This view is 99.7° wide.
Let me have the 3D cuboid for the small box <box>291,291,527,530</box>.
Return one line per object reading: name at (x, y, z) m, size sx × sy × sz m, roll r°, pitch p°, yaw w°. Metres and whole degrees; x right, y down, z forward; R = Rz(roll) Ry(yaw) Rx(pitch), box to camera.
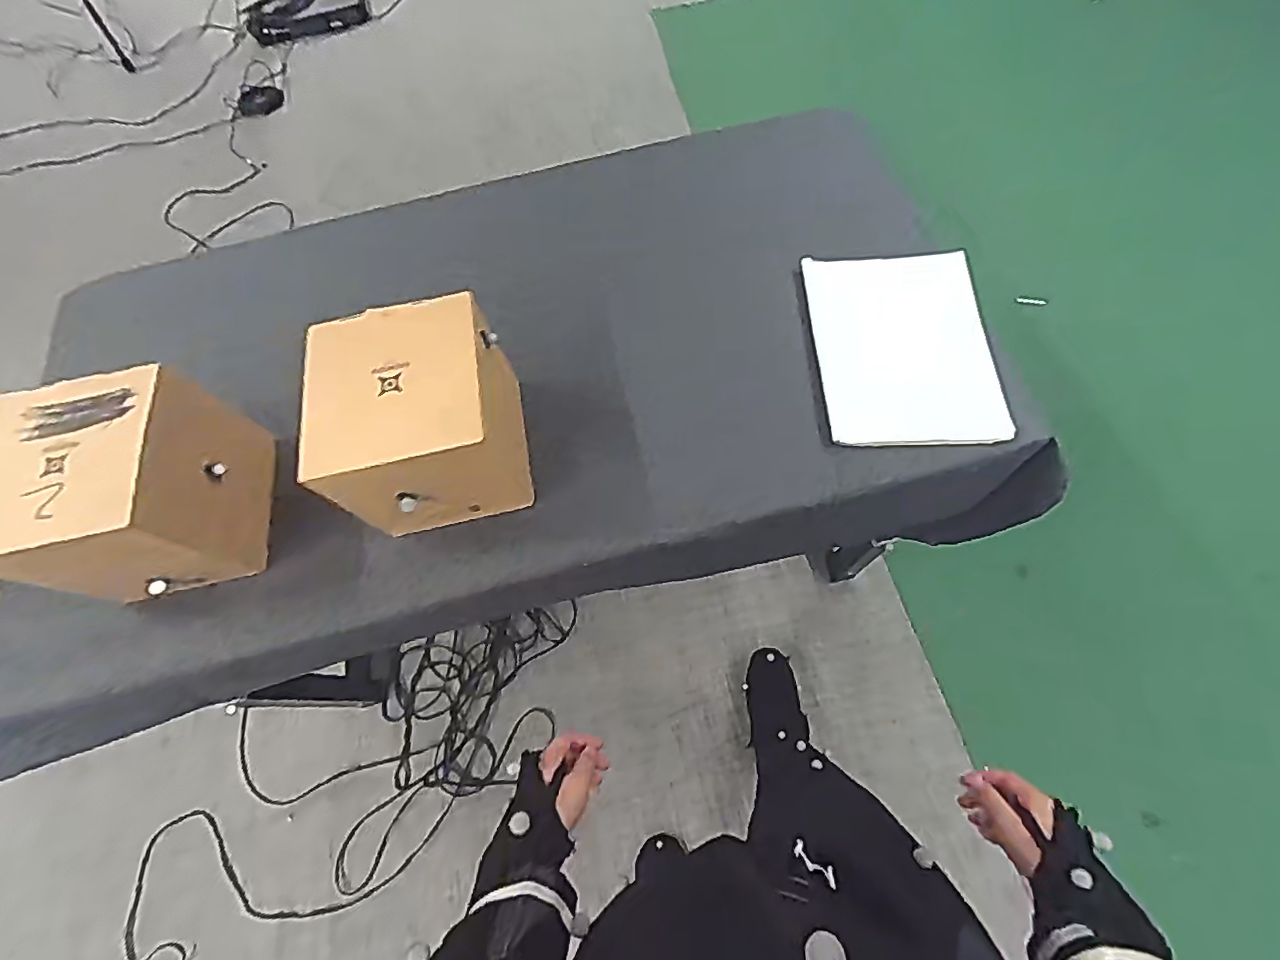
small box at (-0.225, -0.058, 0.563) m, size 0.168 × 0.176 × 0.179 m, roll -13°, pitch 66°, yaw 0°
